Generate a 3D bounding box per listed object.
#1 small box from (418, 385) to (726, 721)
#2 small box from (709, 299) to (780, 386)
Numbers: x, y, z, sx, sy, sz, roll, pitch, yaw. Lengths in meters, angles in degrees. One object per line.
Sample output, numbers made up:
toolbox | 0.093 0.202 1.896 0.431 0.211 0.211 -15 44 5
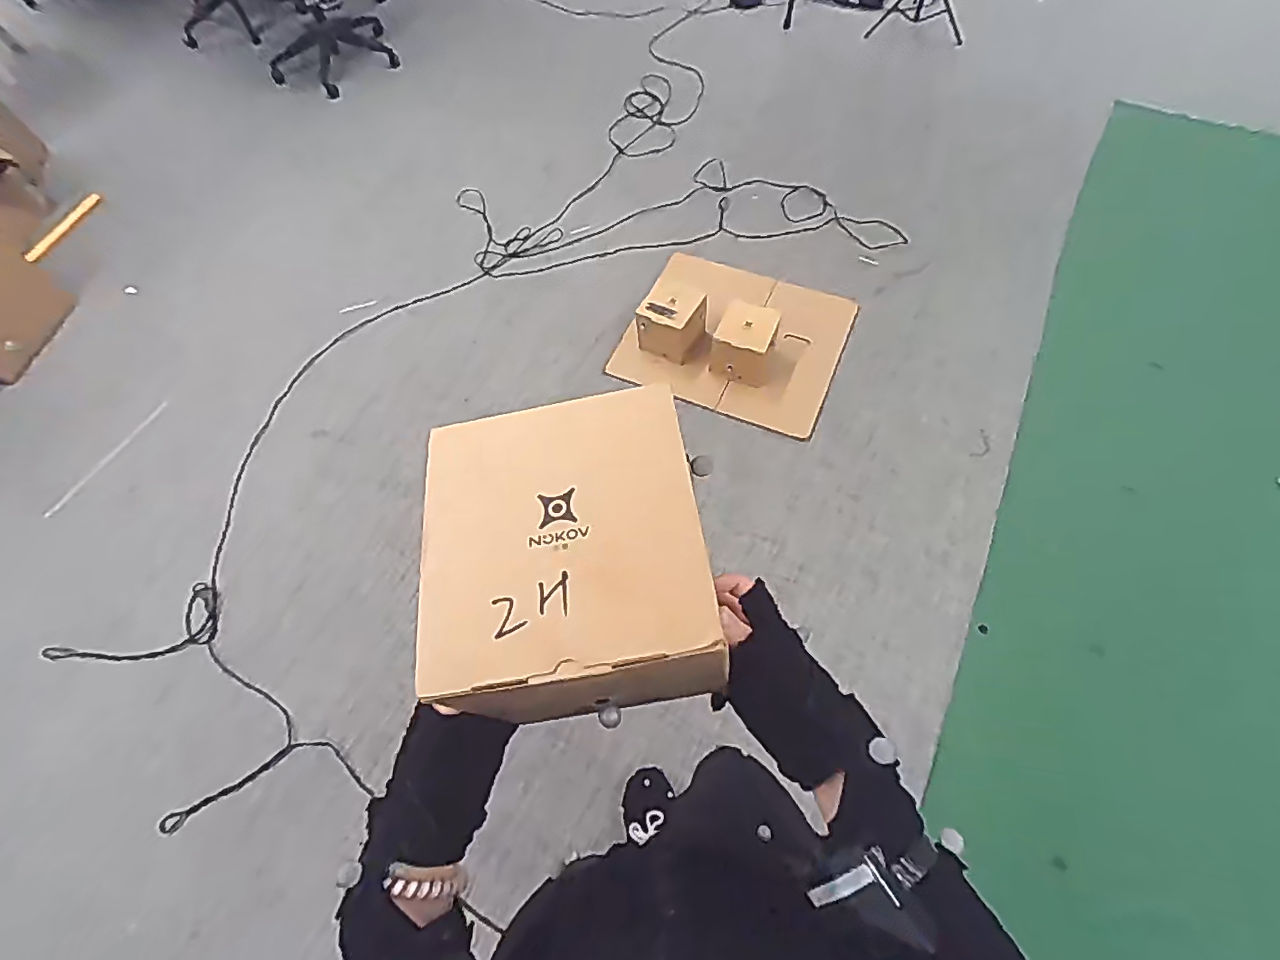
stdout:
small box | -0.037 0.063 0.390 0.168 0.176 0.179 -11 61 4
small box | 0.324 -0.432 1.708 0.168 0.176 0.179 20 67 12
